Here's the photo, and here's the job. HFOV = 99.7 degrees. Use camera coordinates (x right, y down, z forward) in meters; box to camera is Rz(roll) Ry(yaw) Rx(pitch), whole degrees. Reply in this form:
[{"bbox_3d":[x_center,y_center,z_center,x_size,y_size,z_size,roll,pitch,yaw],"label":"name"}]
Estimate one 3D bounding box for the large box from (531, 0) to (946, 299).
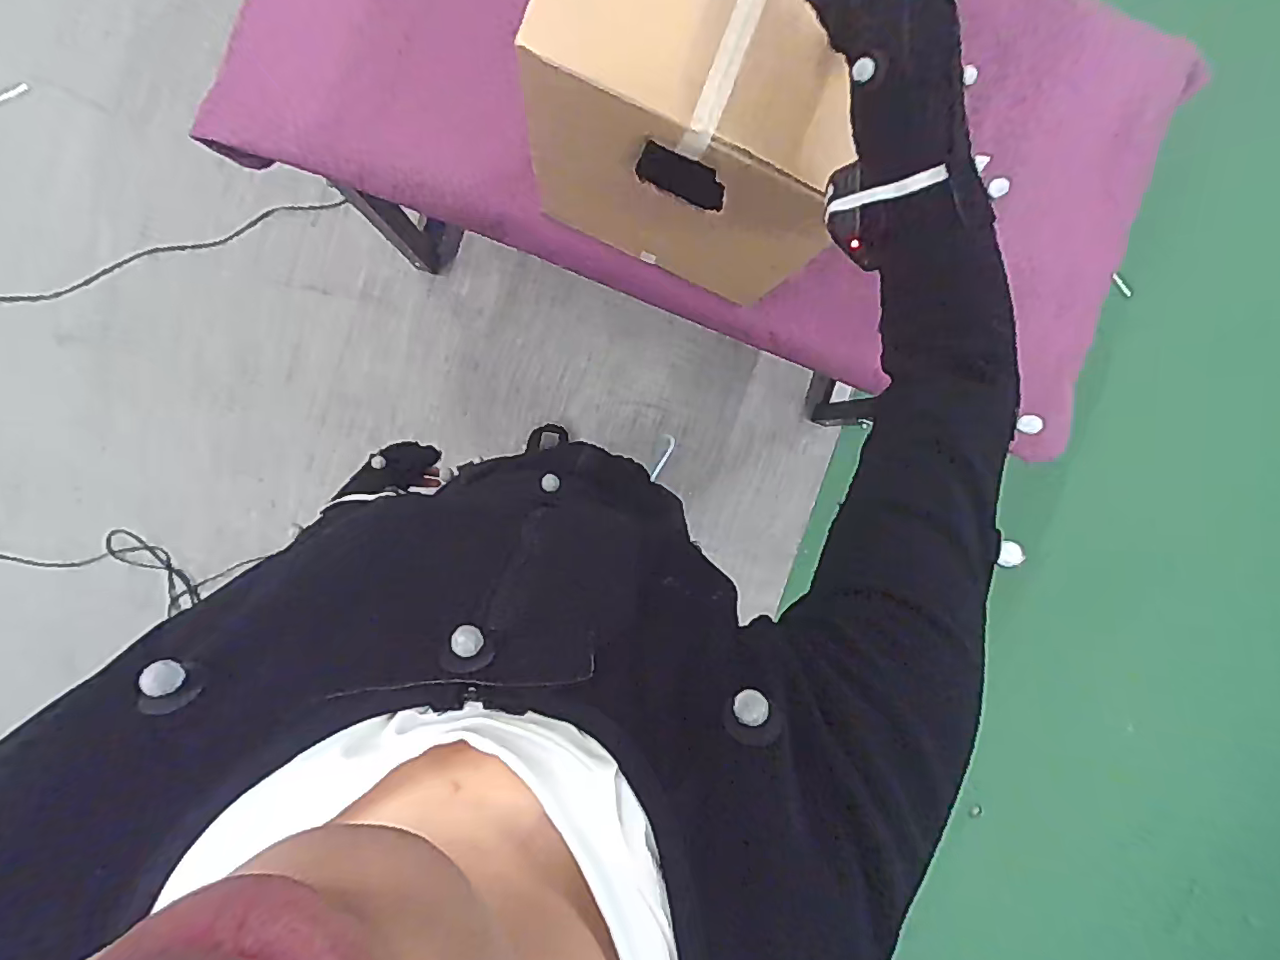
[{"bbox_3d":[0.103,-0.478,0.594,0.320,0.320,0.408,22,92,-8],"label":"large box"}]
